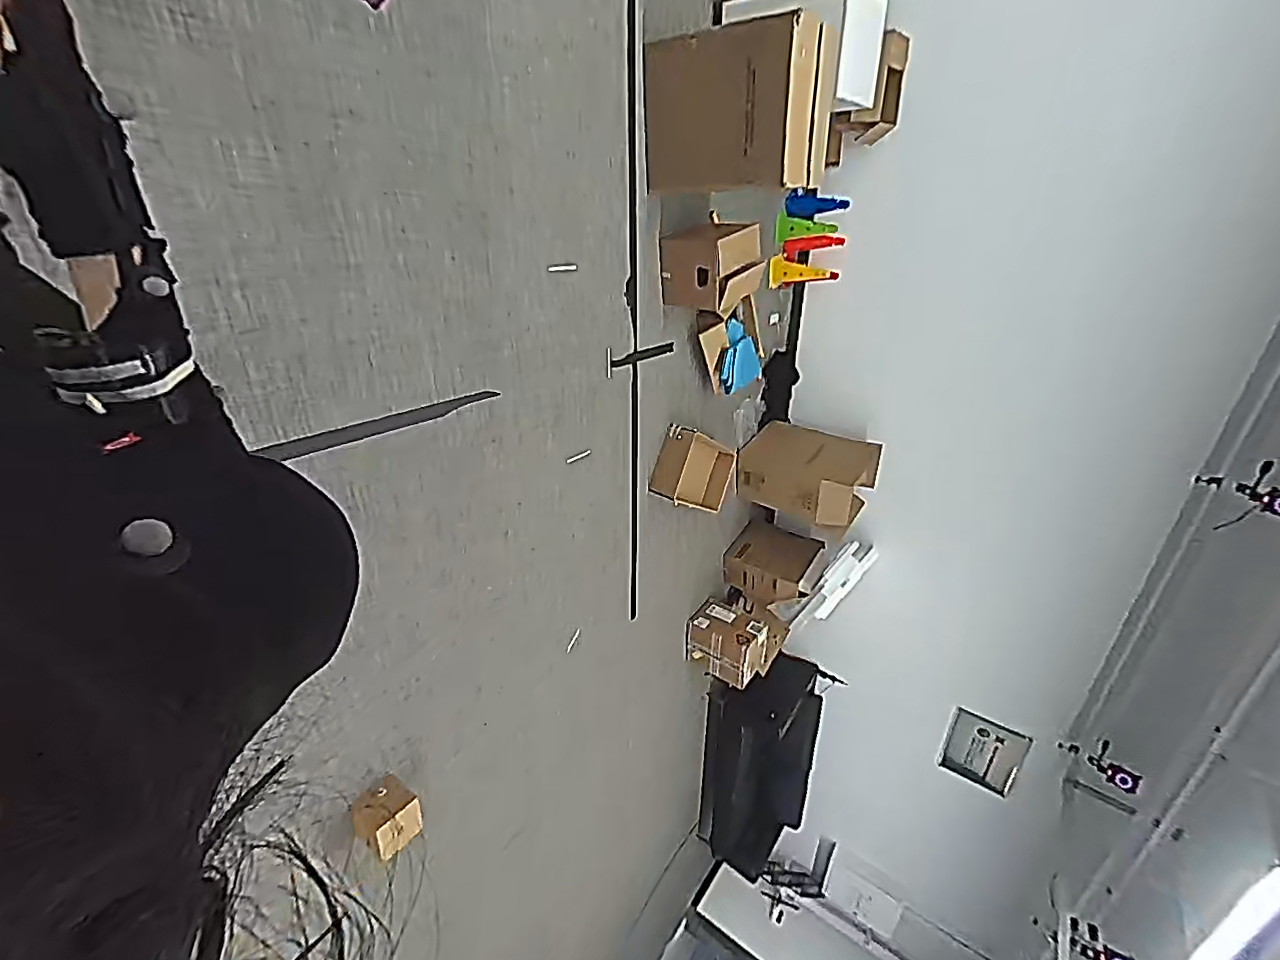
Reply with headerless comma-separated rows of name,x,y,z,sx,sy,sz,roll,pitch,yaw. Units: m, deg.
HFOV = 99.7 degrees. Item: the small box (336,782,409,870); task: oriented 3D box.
small box,-0.967,1.244,1.959,0.168,0.176,0.179,-29,127,-50
